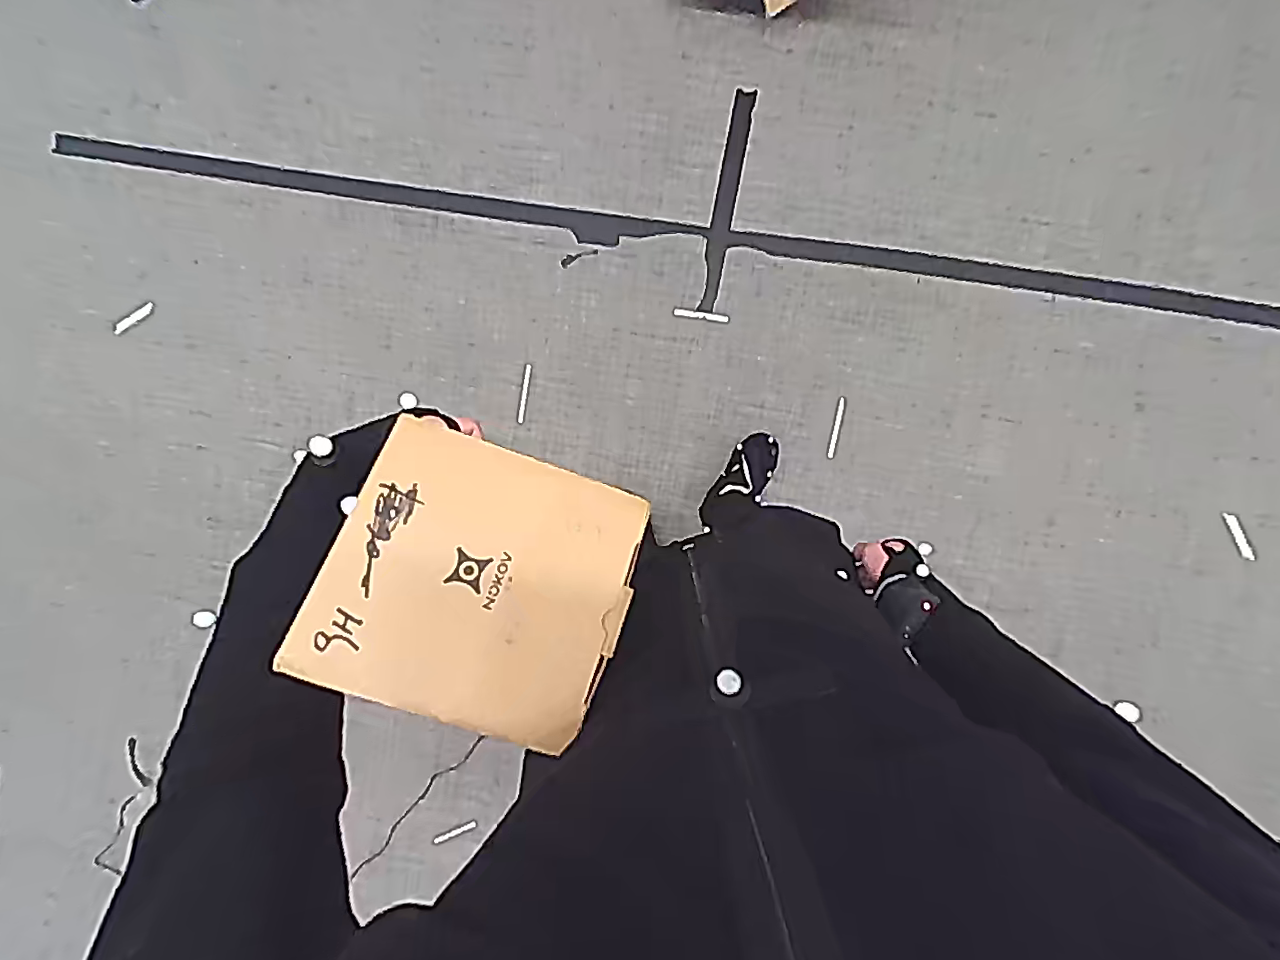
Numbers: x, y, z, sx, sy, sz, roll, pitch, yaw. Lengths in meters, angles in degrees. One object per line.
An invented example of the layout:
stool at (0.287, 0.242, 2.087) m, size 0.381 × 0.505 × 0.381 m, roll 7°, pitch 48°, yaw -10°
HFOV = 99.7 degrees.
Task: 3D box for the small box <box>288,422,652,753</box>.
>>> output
small box at (-0.112, 0.084, 0.413) m, size 0.179 × 0.176 × 0.168 m, roll 20°, pitch 70°, yaw -7°
